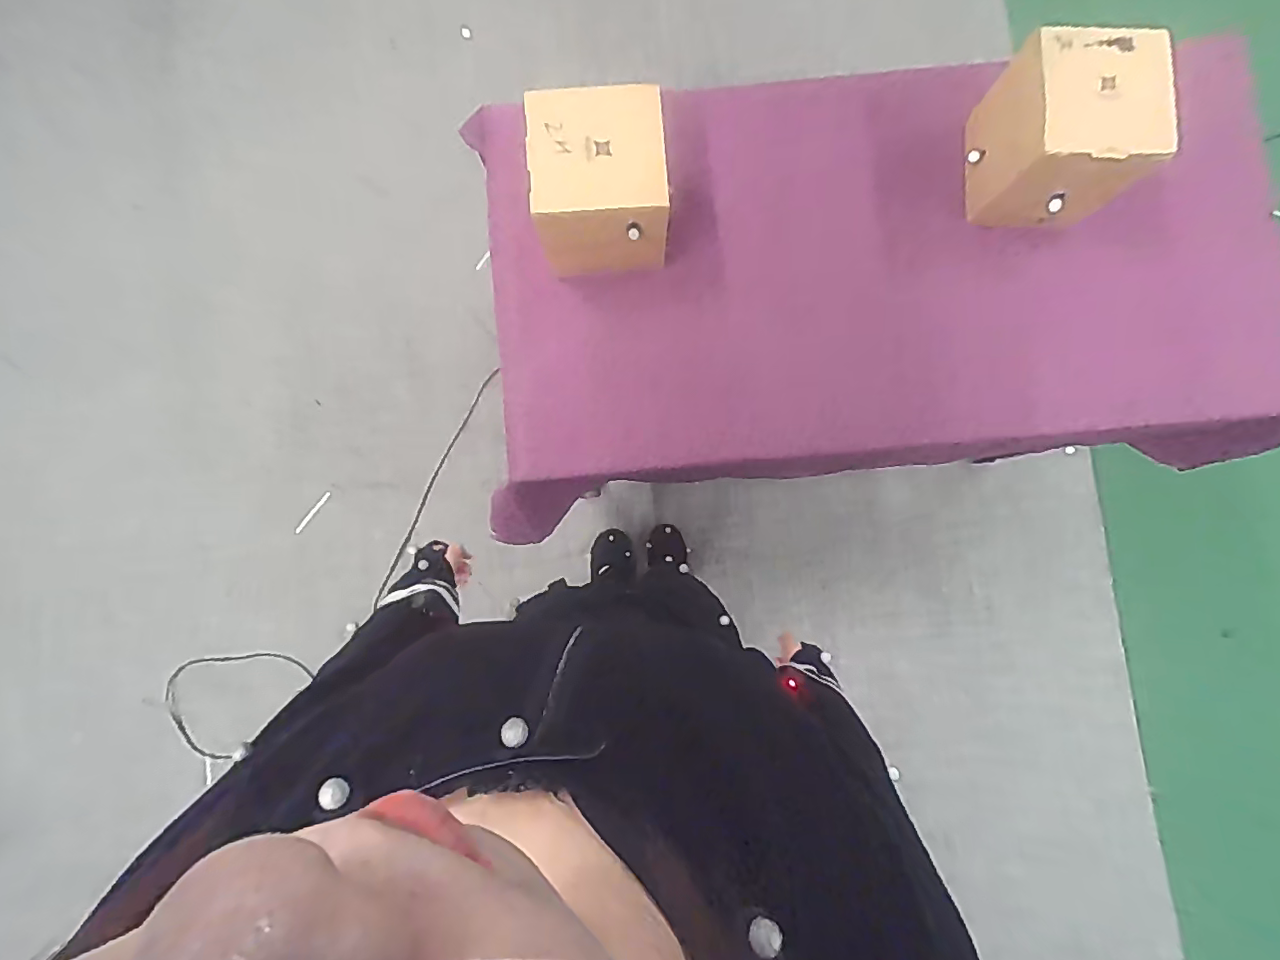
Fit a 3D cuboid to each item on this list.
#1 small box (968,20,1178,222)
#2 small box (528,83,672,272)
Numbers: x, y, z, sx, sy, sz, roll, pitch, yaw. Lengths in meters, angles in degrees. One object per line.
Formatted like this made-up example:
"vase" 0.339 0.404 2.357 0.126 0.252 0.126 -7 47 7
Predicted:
"small box" 0.588 -0.485 0.755 0.168 0.176 0.179 2 86 0
"small box" -0.052 -0.409 0.756 0.179 0.176 0.168 -4 84 0
